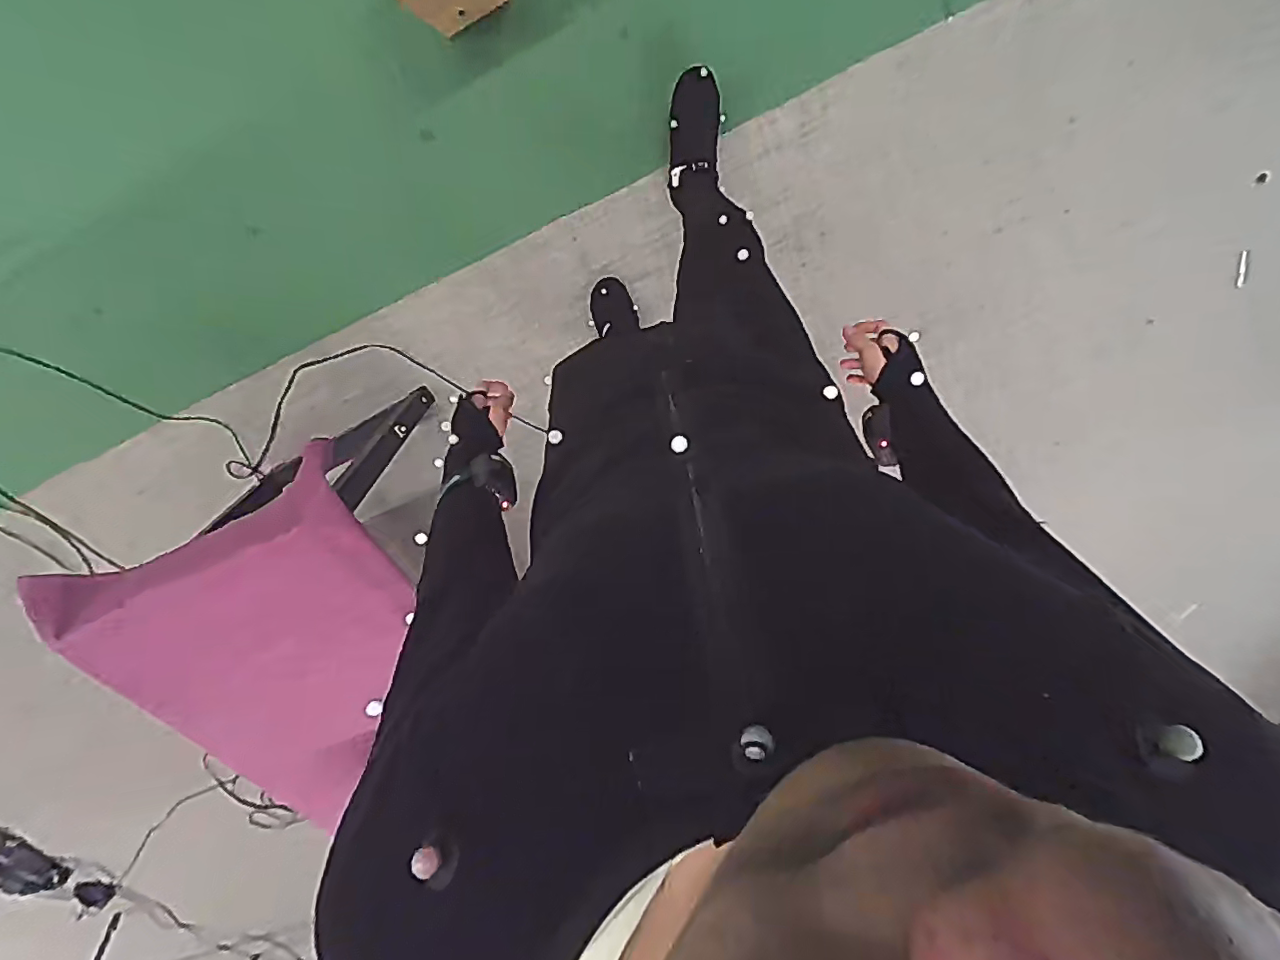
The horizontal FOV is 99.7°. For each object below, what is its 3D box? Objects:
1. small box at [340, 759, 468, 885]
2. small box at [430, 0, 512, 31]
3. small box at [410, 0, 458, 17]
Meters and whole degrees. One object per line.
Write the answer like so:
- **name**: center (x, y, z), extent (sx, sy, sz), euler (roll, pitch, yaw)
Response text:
- **small box**: center (-0.511, 0.747, 1.198), extent (0.168, 0.176, 0.179), euler (-24, 119, 11)
- **small box**: center (-0.361, -1.012, 1.043), extent (0.168, 0.176, 0.179), euler (-23, 117, 11)
- **small box**: center (-0.355, -0.926, 0.903), extent (0.179, 0.176, 0.168), euler (-24, 118, 10)
